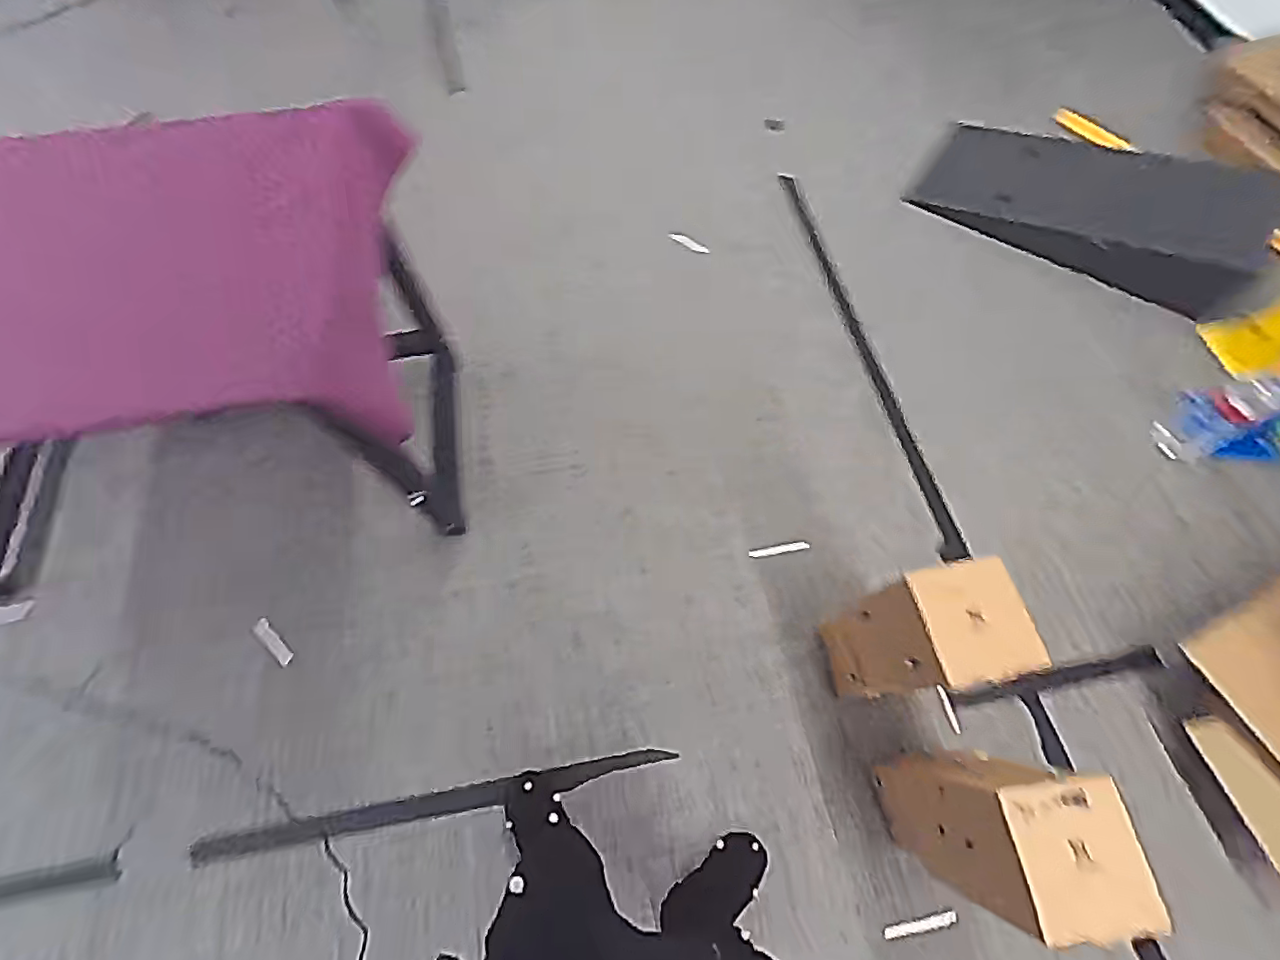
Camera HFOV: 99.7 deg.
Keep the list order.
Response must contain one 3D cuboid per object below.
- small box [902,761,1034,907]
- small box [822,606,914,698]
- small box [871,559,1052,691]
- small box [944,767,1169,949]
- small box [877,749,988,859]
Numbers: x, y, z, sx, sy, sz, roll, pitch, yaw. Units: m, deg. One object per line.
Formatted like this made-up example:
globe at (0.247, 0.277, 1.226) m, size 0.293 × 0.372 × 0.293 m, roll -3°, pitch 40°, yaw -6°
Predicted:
small box at (0.585, 0.595, 0.936) m, size 0.168 × 0.176 × 0.179 m, roll -8°, pitch 68°, yaw -2°
small box at (0.527, 0.381, 1.208) m, size 0.168 × 0.176 × 0.179 m, roll -9°, pitch 68°, yaw -4°
small box at (0.522, 0.250, 0.908) m, size 0.168 × 0.176 × 0.179 m, roll -10°, pitch 67°, yaw -6°
small box at (0.581, 0.531, 0.784) m, size 0.168 × 0.176 × 0.179 m, roll -5°, pitch 68°, yaw -1°
small box at (0.603, 0.652, 1.090) m, size 0.179 × 0.176 × 0.168 m, roll -10°, pitch 68°, yaw -4°
